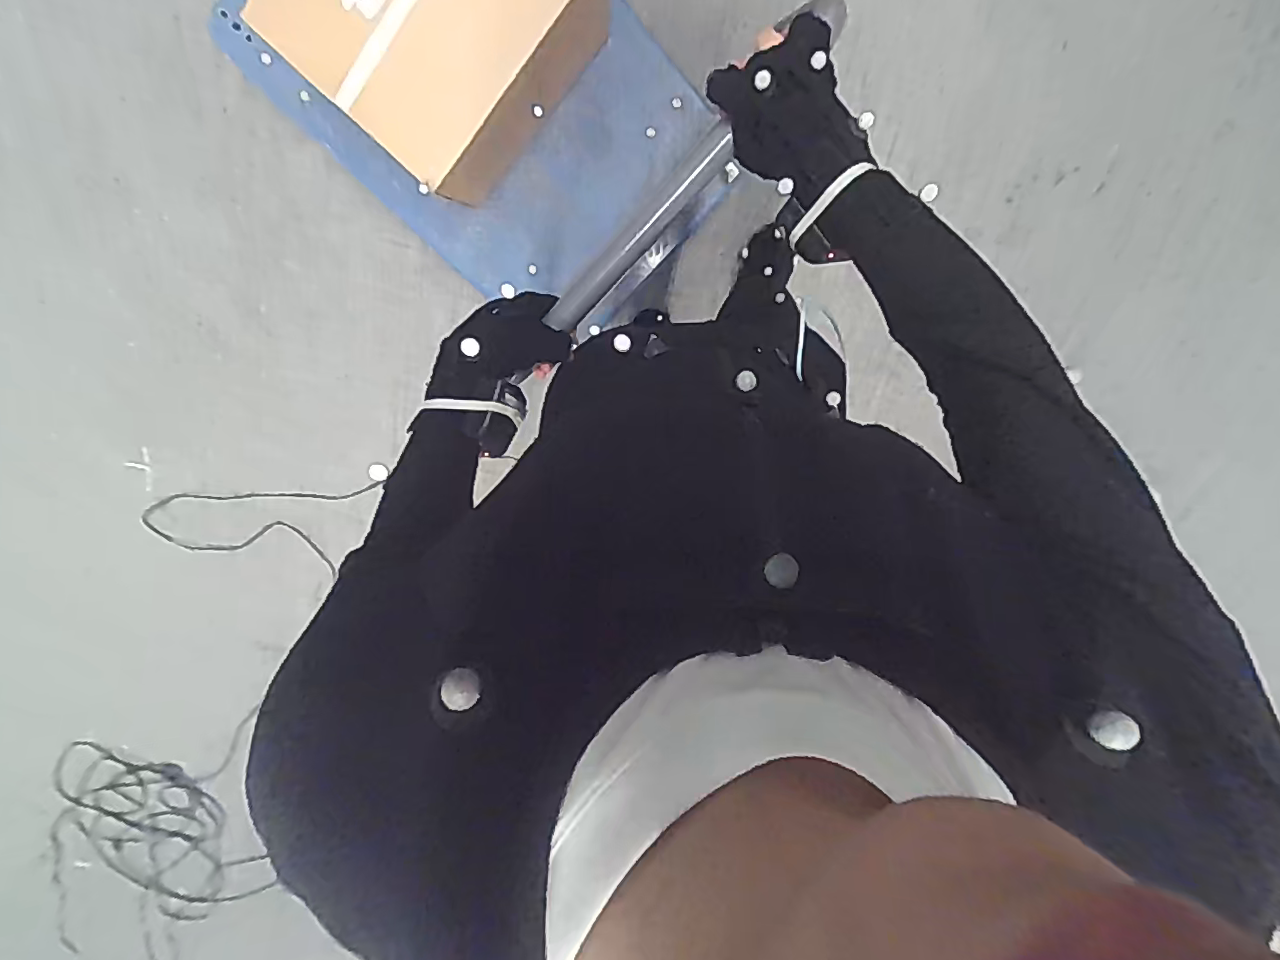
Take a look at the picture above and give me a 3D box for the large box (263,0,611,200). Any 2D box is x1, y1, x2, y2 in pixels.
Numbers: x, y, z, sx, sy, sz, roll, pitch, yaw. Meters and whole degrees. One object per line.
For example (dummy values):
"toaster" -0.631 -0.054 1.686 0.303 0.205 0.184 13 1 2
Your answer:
"large box" -0.285 -0.737 0.871 0.320 0.320 0.408 39 106 -16
